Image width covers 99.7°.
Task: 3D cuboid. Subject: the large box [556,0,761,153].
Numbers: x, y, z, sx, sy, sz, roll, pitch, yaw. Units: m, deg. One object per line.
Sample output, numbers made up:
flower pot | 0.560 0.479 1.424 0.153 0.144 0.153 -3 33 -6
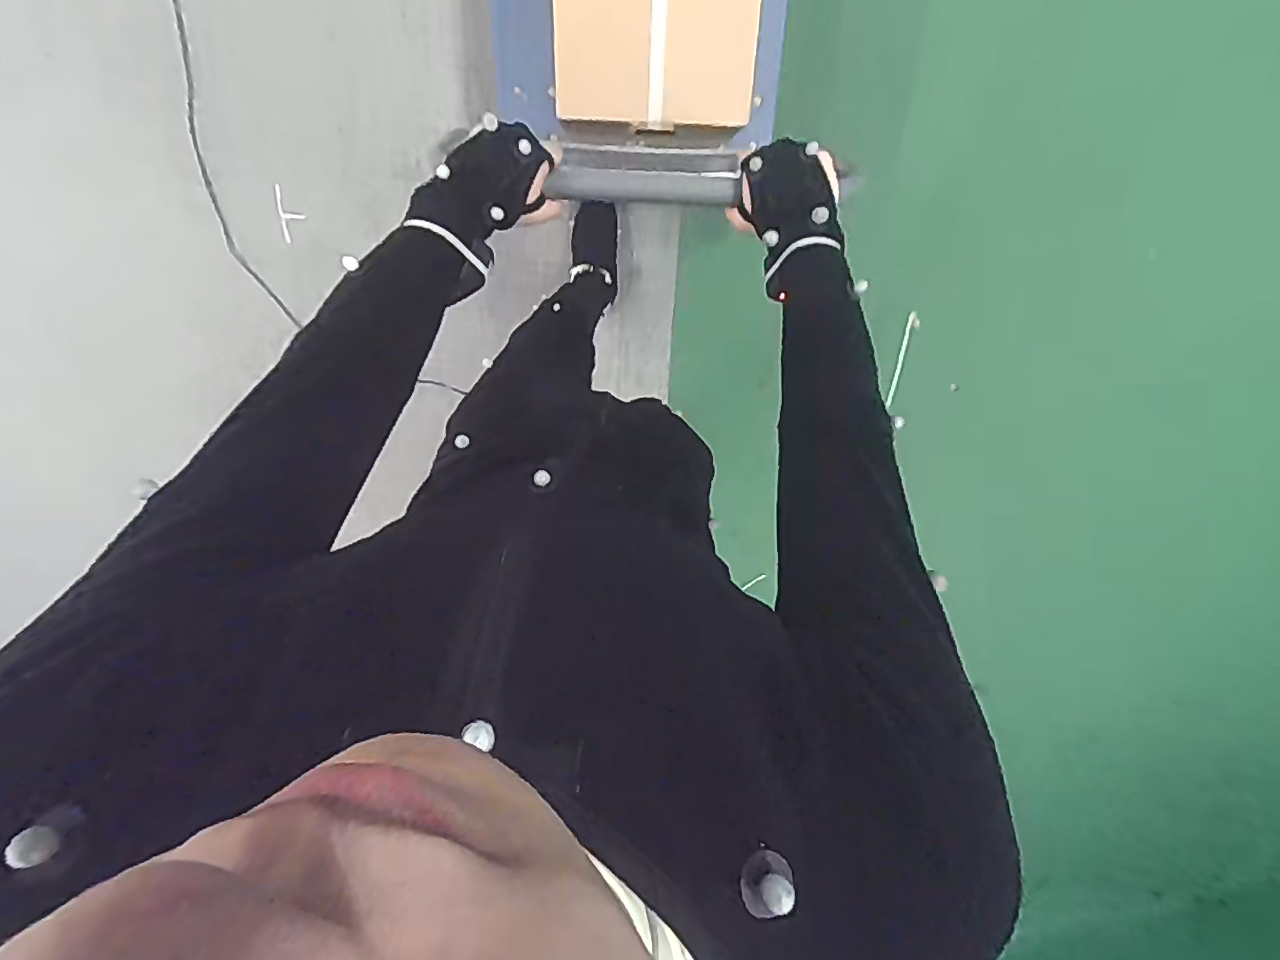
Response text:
large box | 0.027 -0.816 0.932 0.320 0.320 0.408 1 114 -3
